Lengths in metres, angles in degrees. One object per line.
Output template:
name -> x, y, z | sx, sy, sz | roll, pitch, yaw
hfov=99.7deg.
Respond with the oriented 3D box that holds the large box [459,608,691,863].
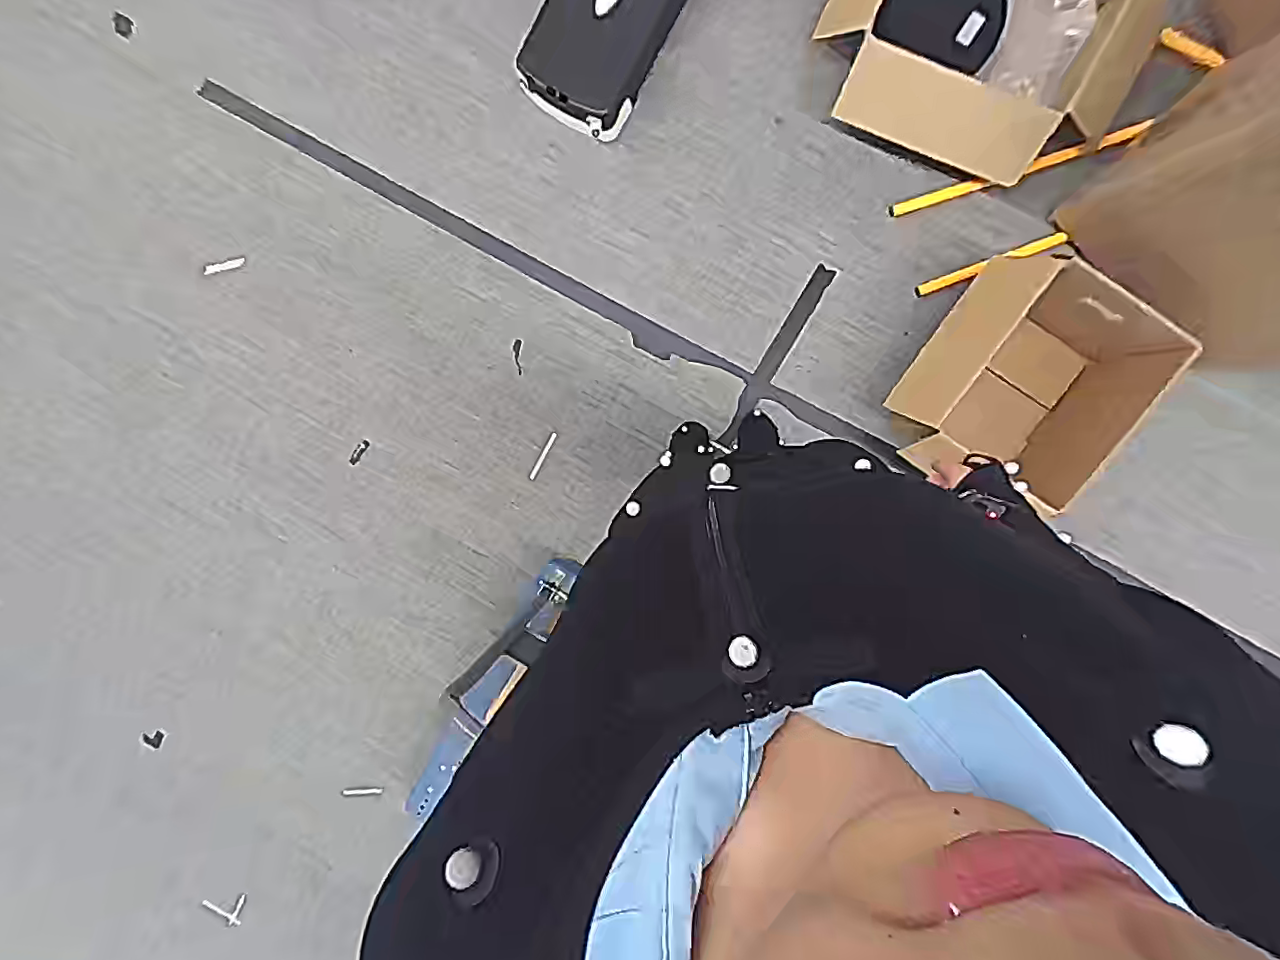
large box -> -0.129, 0.574, 1.280 | 0.408, 0.320, 0.320 | 31, 99, 3
